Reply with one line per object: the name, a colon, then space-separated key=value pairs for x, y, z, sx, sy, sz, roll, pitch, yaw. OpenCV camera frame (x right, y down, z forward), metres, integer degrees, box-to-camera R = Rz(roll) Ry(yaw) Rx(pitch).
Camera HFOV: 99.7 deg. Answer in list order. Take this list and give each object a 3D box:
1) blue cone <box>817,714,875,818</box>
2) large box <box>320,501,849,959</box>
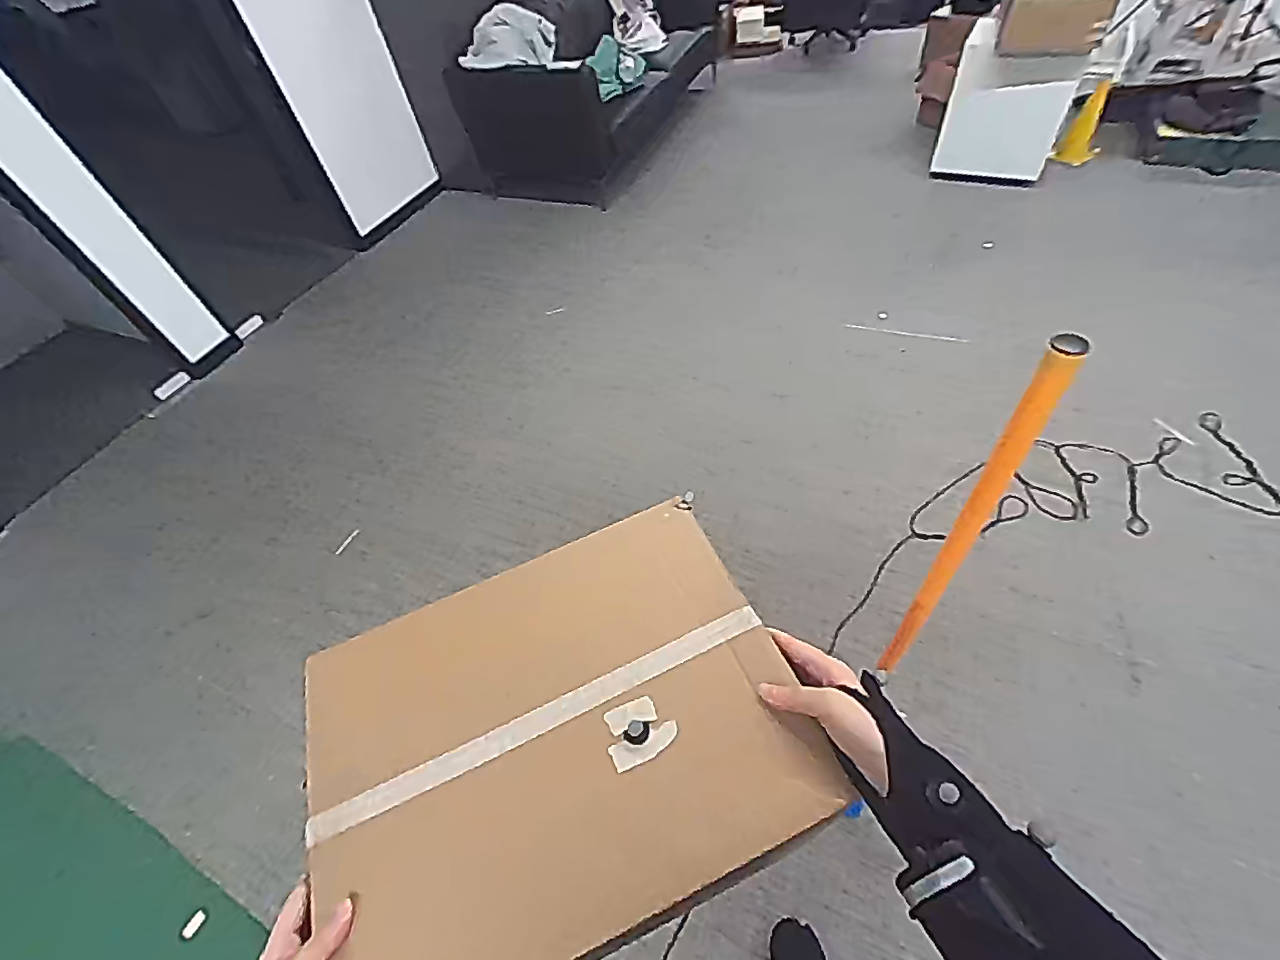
blue cone: x=0.430 y=0.576 z=1.173 sx=0.193 sy=0.380 sz=0.192 roll=23 pitch=59 yaw=25
large box: x=-0.058 y=0.296 z=0.588 sx=0.408 sy=0.320 sz=0.320 roll=-23 pitch=53 yaw=-10
